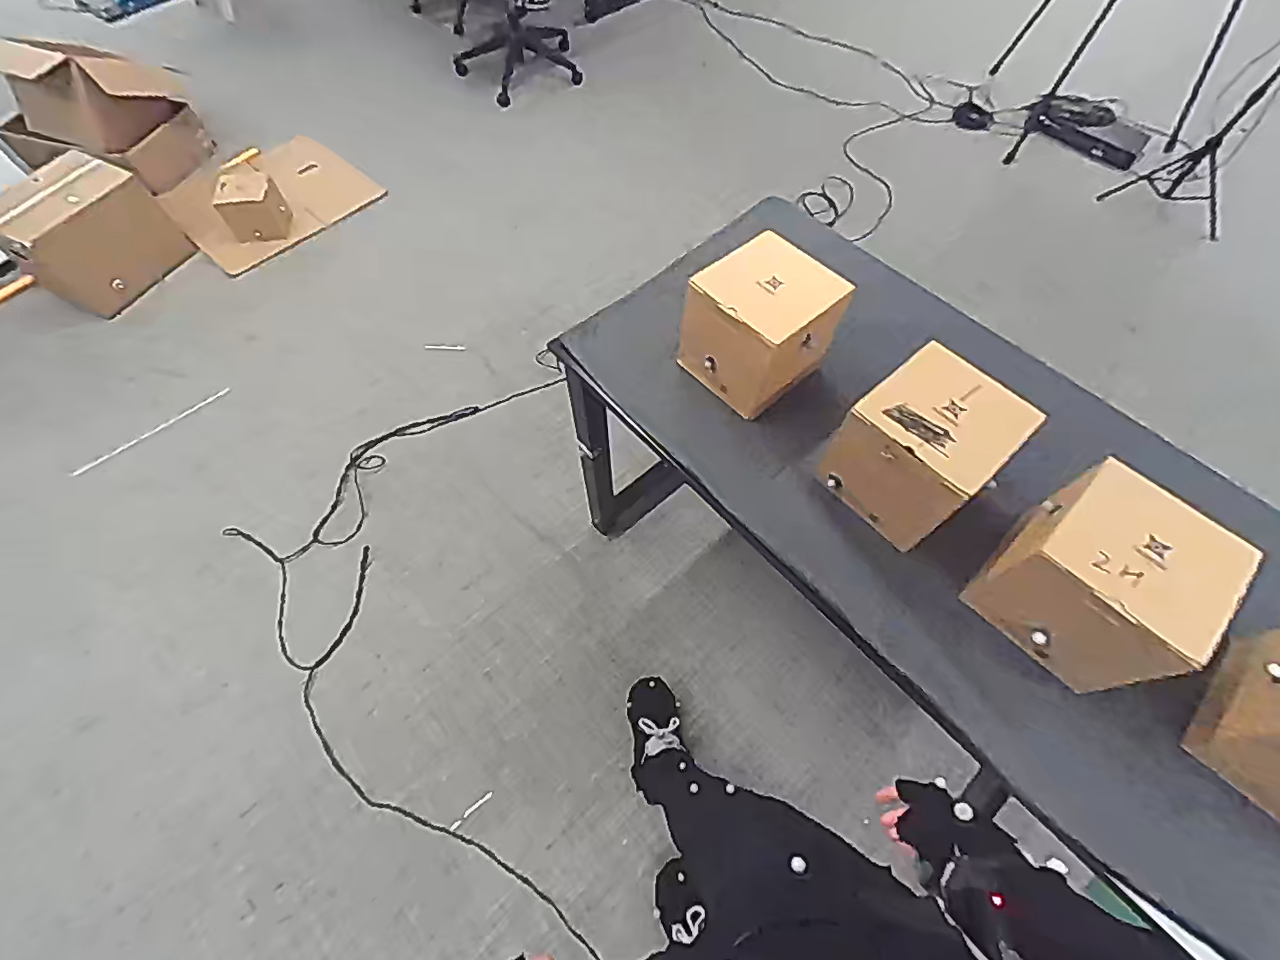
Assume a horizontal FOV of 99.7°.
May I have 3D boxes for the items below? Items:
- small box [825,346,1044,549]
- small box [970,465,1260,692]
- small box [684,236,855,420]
[{"bbox_3d":[0.374,-0.036,0.725,0.179,0.176,0.168,-37,68,-20],"label":"small box"},{"bbox_3d":[0.539,0.121,0.640,0.179,0.176,0.168,-39,68,-20],"label":"small box"},{"bbox_3d":[0.185,-0.228,0.829,0.179,0.176,0.168,-38,69,-21],"label":"small box"}]
